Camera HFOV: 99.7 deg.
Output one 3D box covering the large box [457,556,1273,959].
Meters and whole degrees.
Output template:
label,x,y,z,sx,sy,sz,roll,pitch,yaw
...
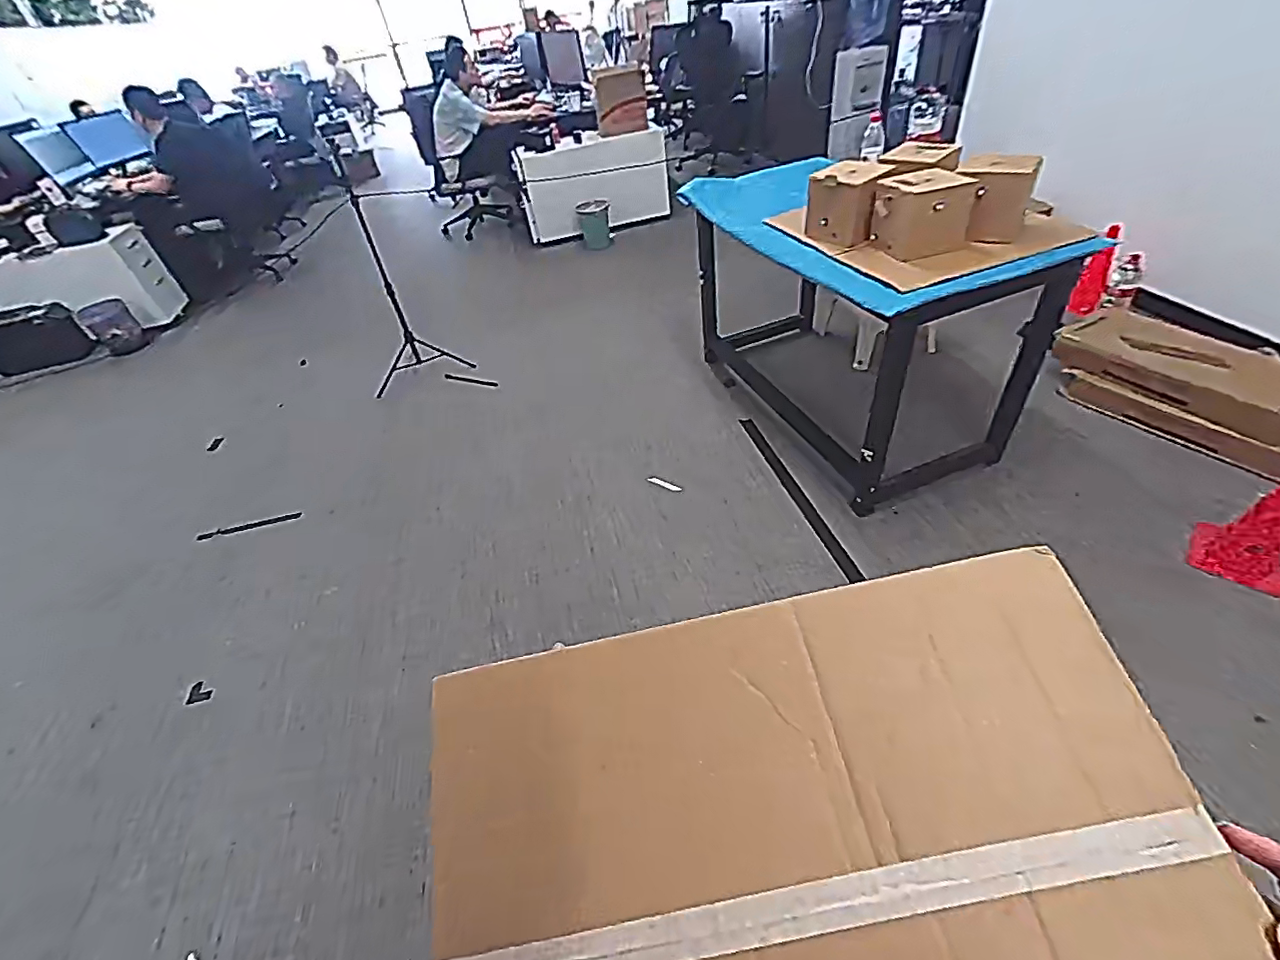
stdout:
label,x,y,z,sx,sy,sz,roll,pitch,yaw
large box,0.116,0.295,0.418,0.408,0.320,0.320,-13,62,2
